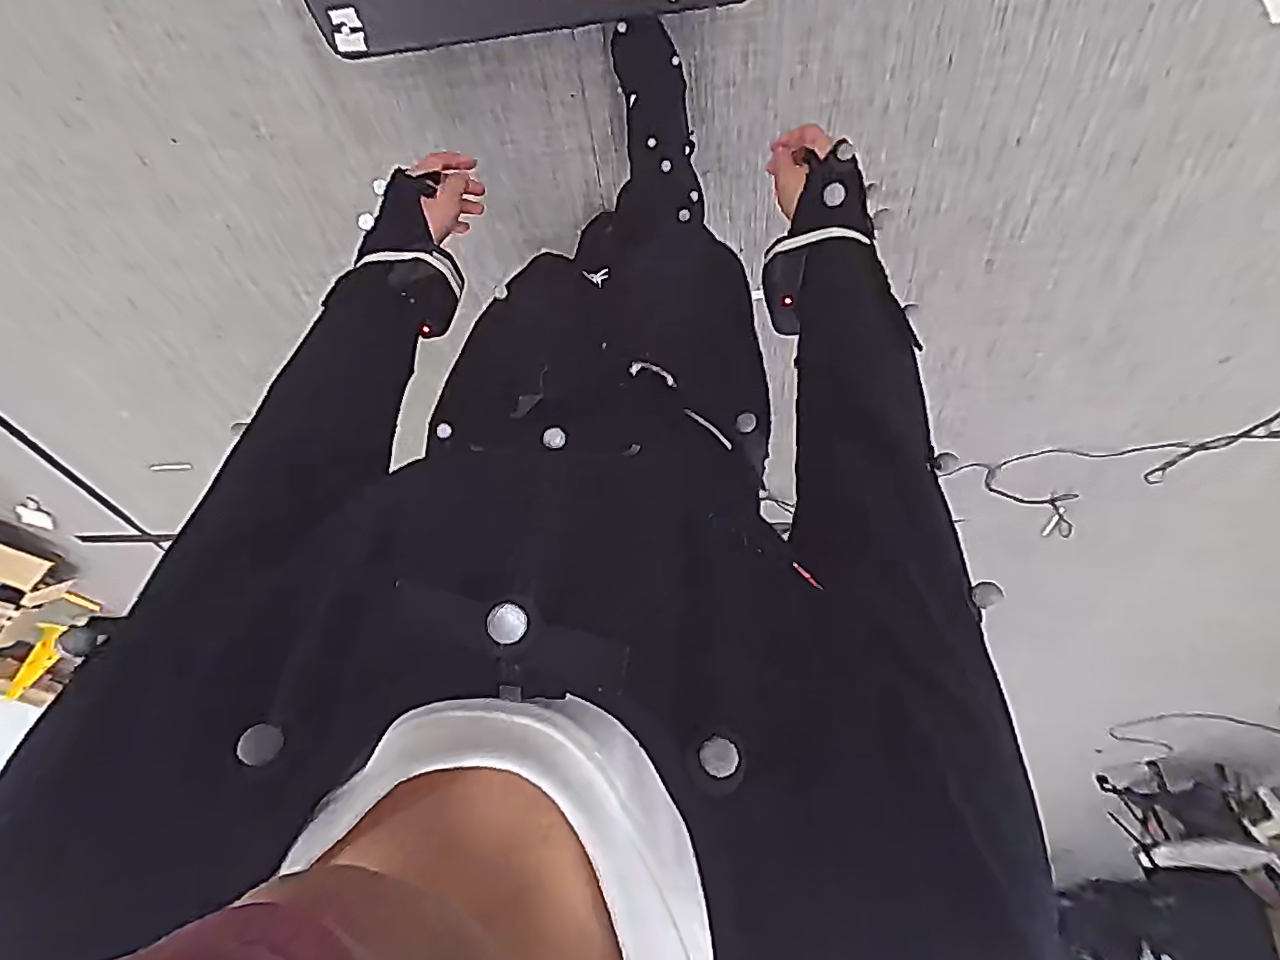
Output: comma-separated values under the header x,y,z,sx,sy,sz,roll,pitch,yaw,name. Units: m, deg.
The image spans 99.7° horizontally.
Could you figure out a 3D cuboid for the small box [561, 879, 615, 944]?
x,y,z,sx,sy,sz,roll,pitch,yaw,name
-0.186,1.587,1.989,0.168,0.176,0.179,-1,136,5,small box
